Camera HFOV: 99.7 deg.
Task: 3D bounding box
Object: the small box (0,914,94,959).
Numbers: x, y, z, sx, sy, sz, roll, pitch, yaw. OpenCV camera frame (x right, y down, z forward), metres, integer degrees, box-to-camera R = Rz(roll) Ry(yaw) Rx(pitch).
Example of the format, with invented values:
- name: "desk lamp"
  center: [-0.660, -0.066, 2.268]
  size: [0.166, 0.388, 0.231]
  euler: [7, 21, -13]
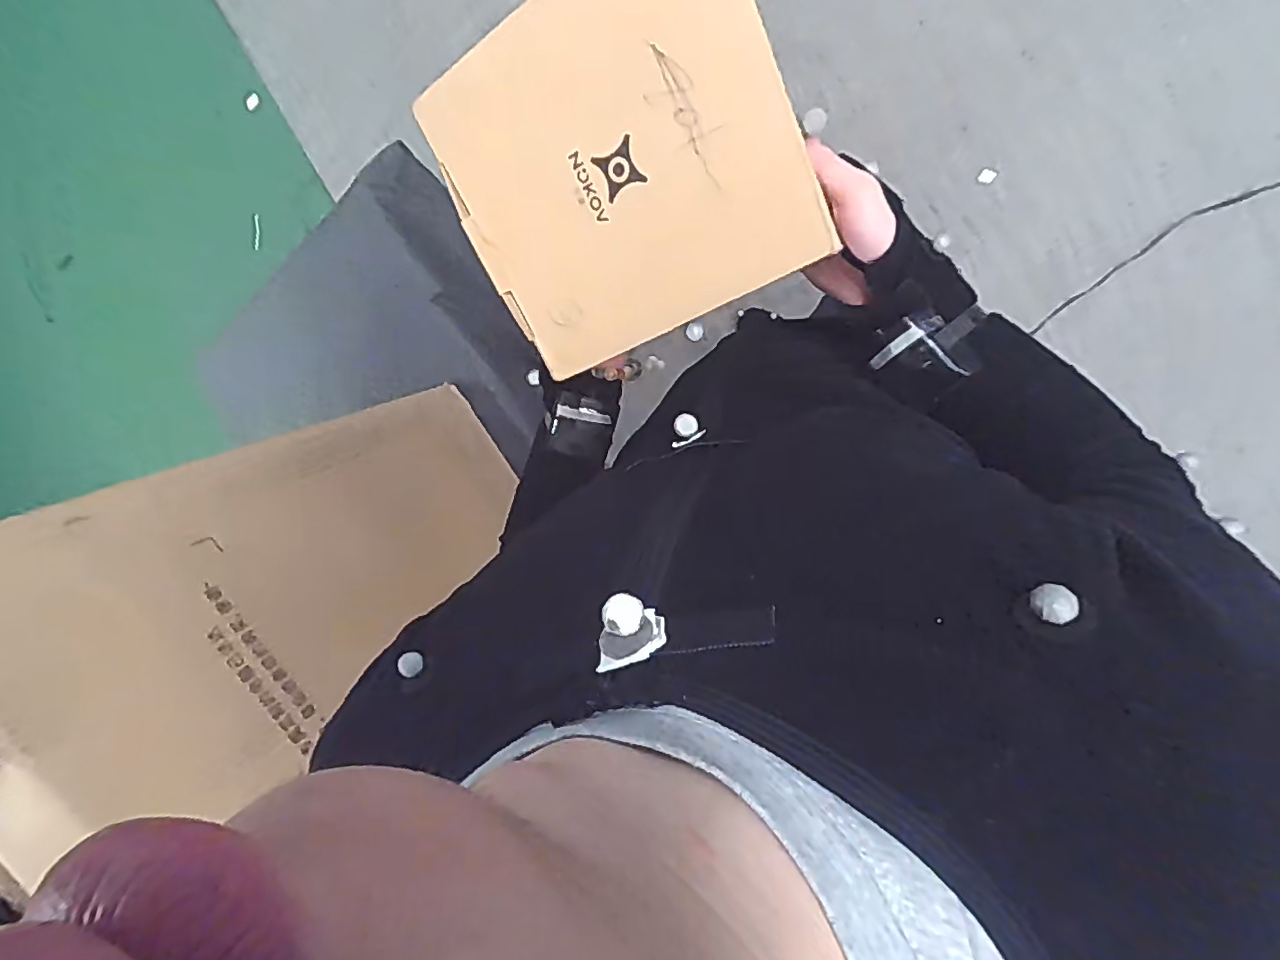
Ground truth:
- name: "small box"
  center: [-0.500, 0.448, 0.369]
  size: [0.168, 0.176, 0.179]
  euler: [-16, 102, 13]
